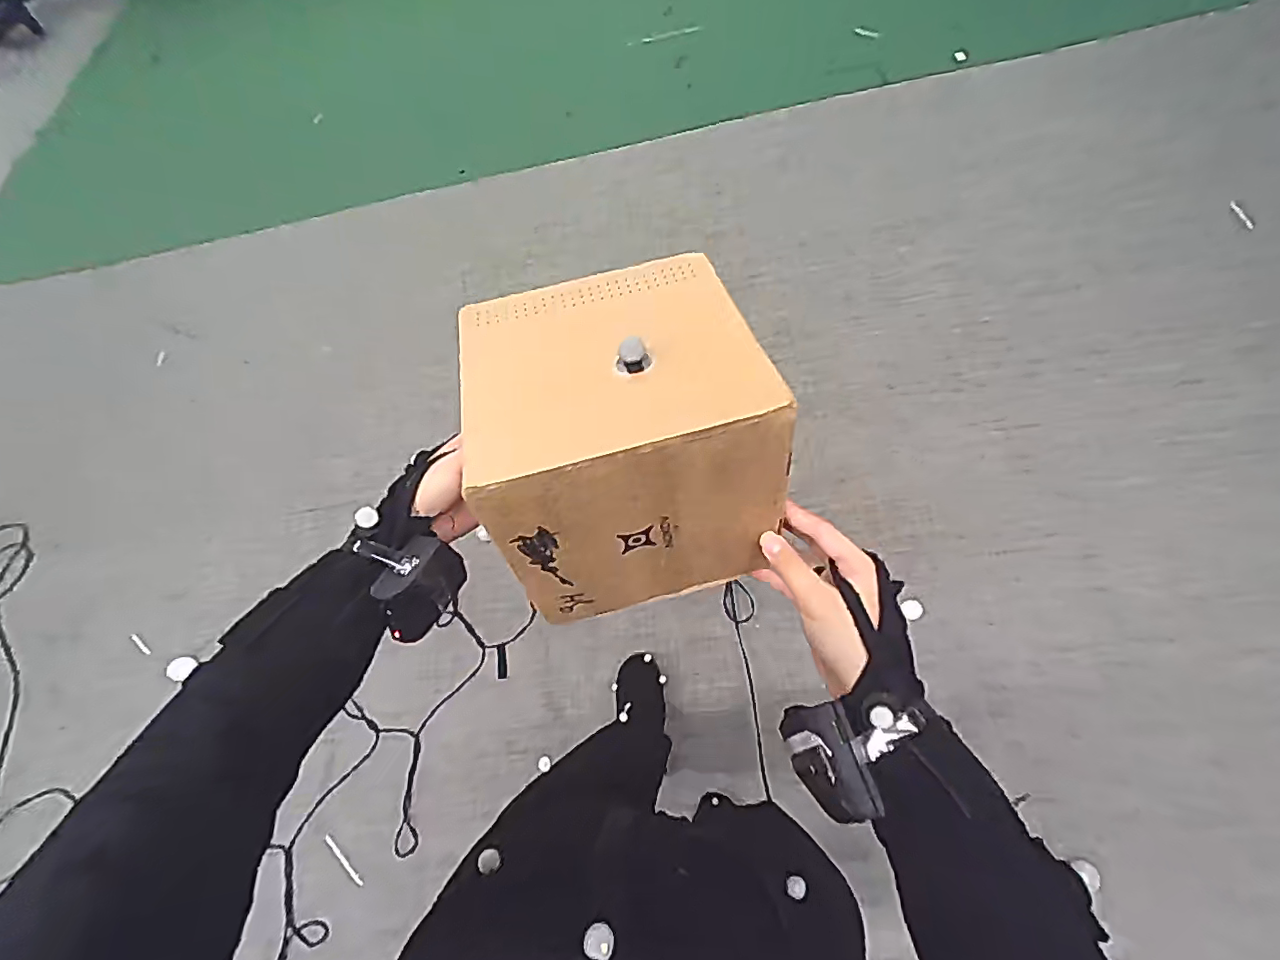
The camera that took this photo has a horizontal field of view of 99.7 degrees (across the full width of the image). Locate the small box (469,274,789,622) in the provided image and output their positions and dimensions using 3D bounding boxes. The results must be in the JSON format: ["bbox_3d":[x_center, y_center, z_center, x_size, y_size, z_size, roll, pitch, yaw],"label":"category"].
[{"bbox_3d":[-0.013,-0.026,0.396,0.179,0.168,0.176,-15,50,-3],"label":"small box"}]
